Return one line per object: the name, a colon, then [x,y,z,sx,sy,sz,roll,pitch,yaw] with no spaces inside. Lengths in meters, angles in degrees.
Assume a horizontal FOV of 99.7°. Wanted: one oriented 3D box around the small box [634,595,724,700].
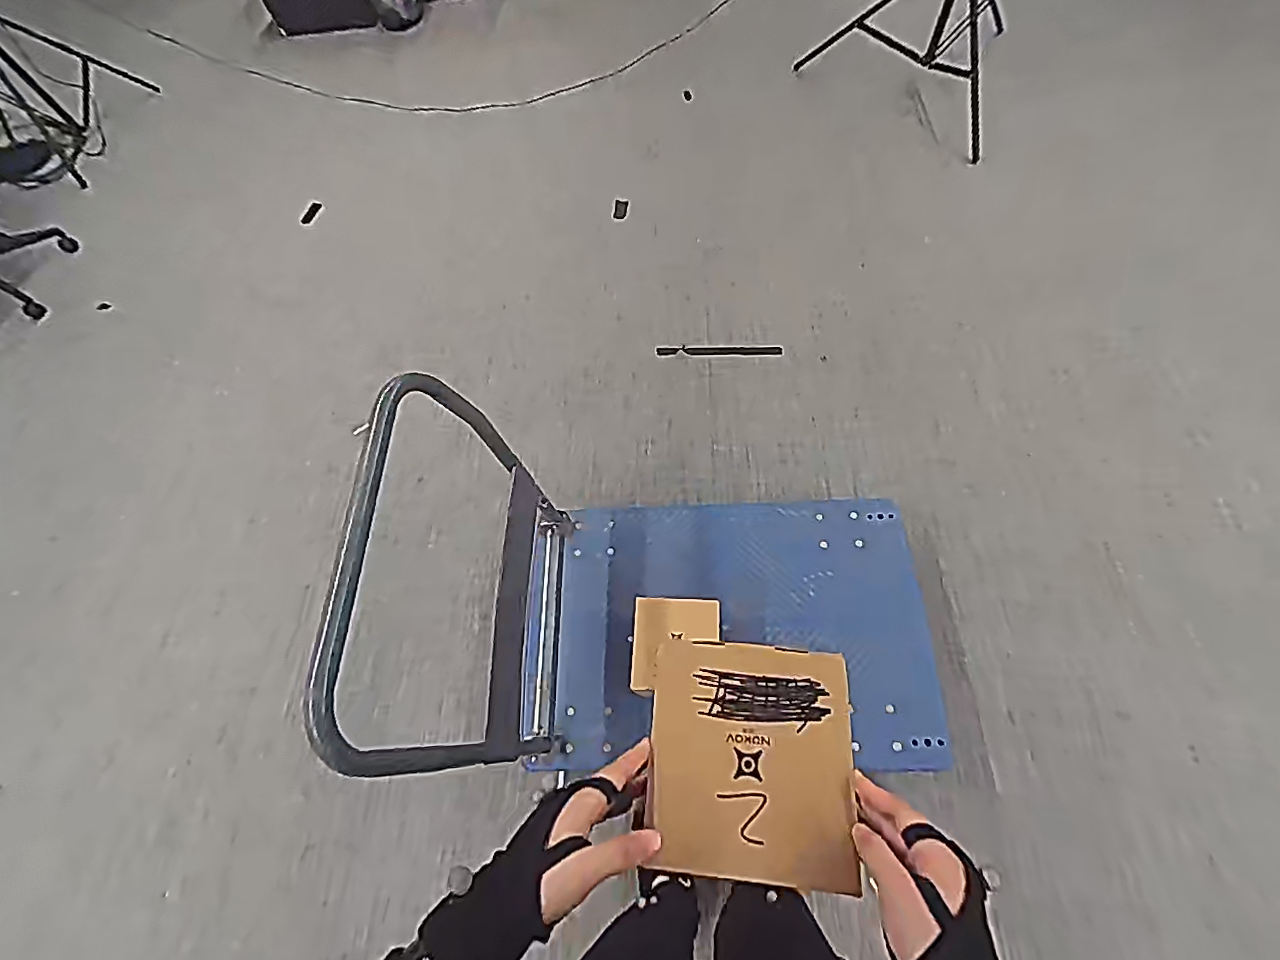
small box: [0.083,0.343,1.100,0.168,0.176,0.179,1,65,7]
